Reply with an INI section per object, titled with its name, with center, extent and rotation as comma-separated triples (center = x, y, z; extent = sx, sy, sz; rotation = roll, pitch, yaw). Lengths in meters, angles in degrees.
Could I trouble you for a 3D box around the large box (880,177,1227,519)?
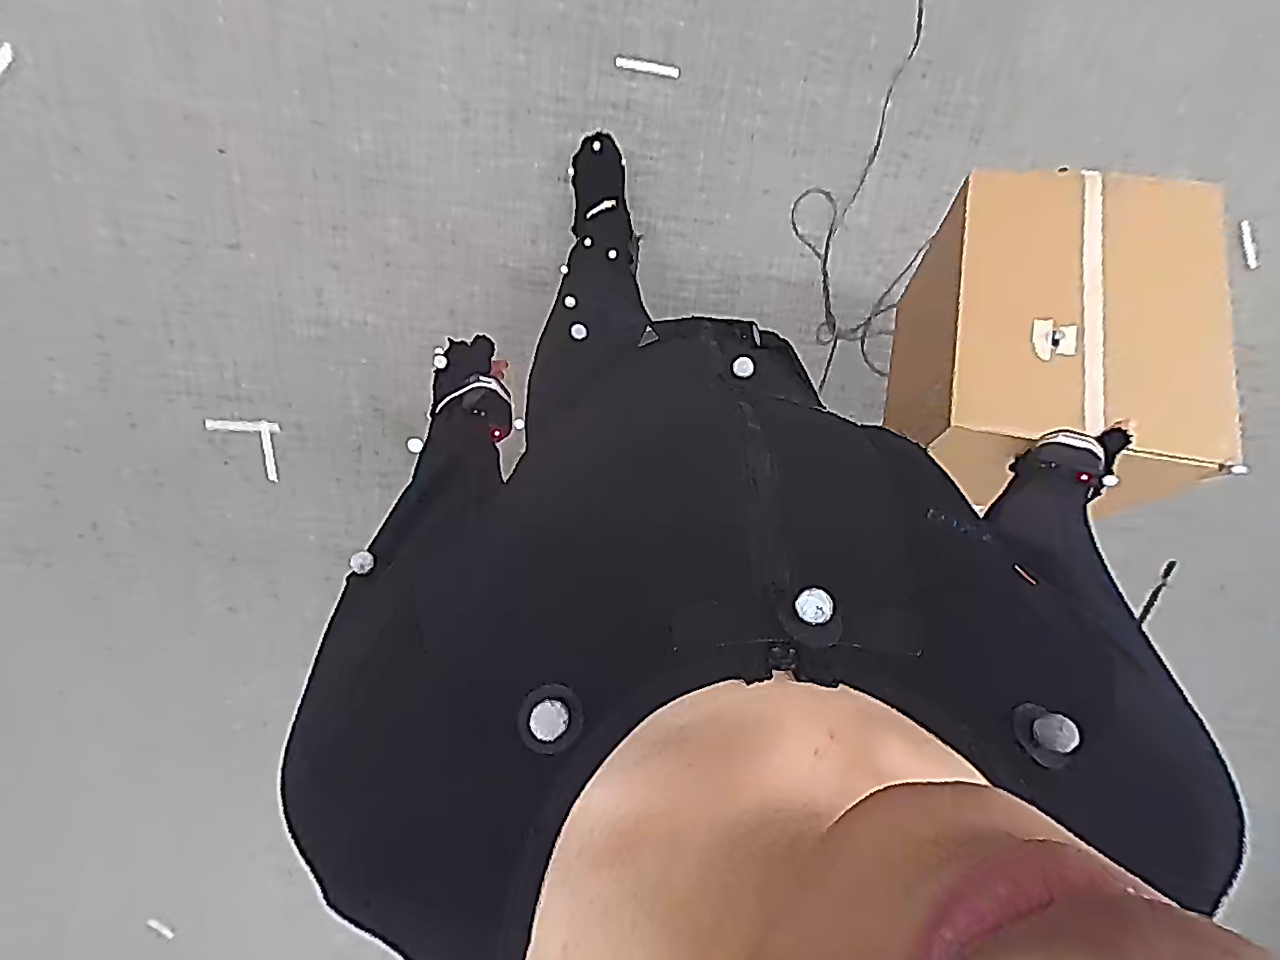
[large box]
center = 0.599, -0.186, 0.852
extent = 0.320, 0.320, 0.408
rotation = 10, 75, 10
